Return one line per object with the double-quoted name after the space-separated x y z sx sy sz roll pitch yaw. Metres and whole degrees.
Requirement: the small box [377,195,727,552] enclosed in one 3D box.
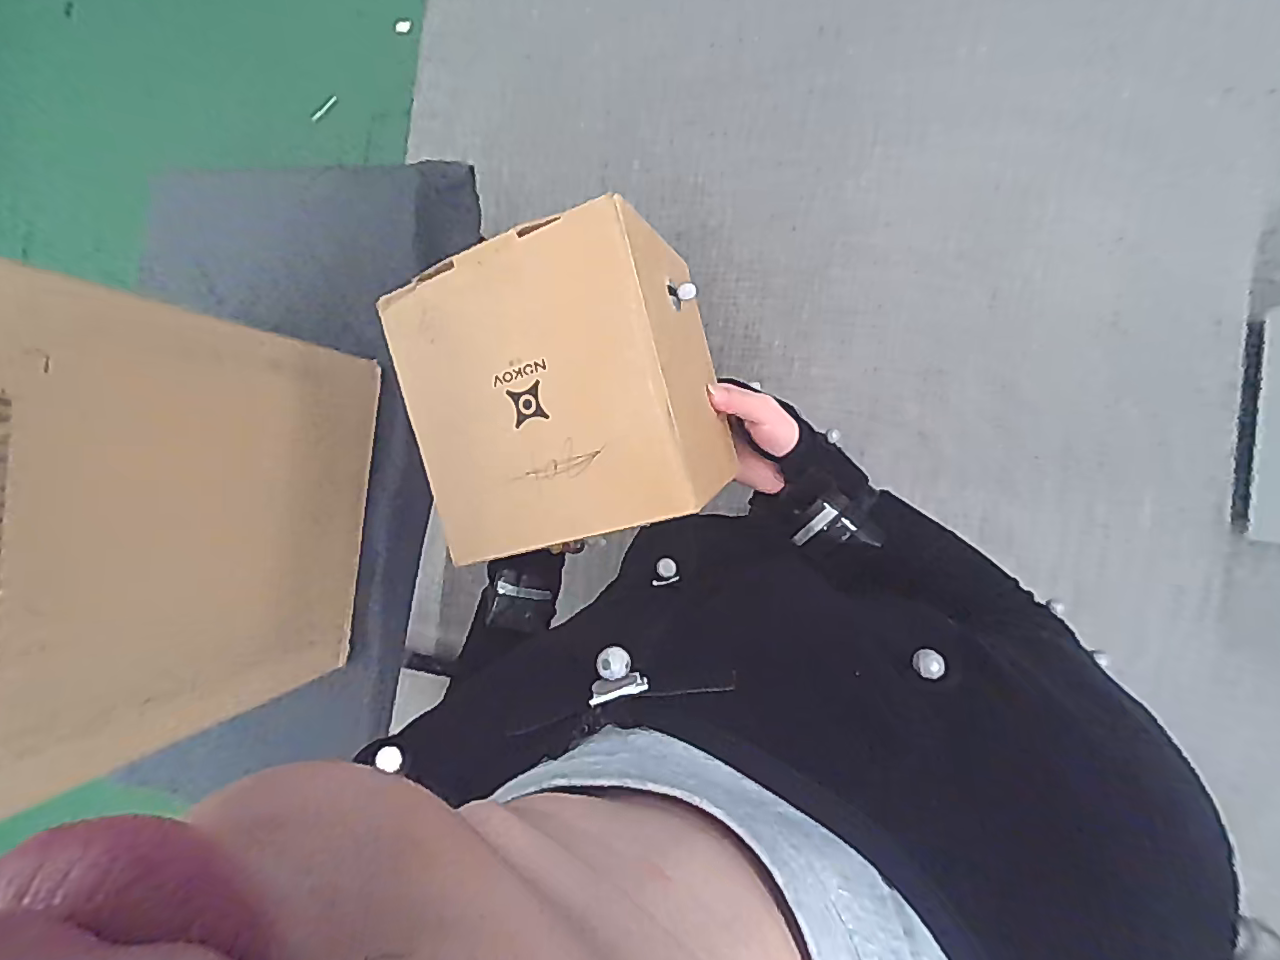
-0.044 -0.062 0.388 0.168 0.176 0.179 -12 94 20 "small box"
